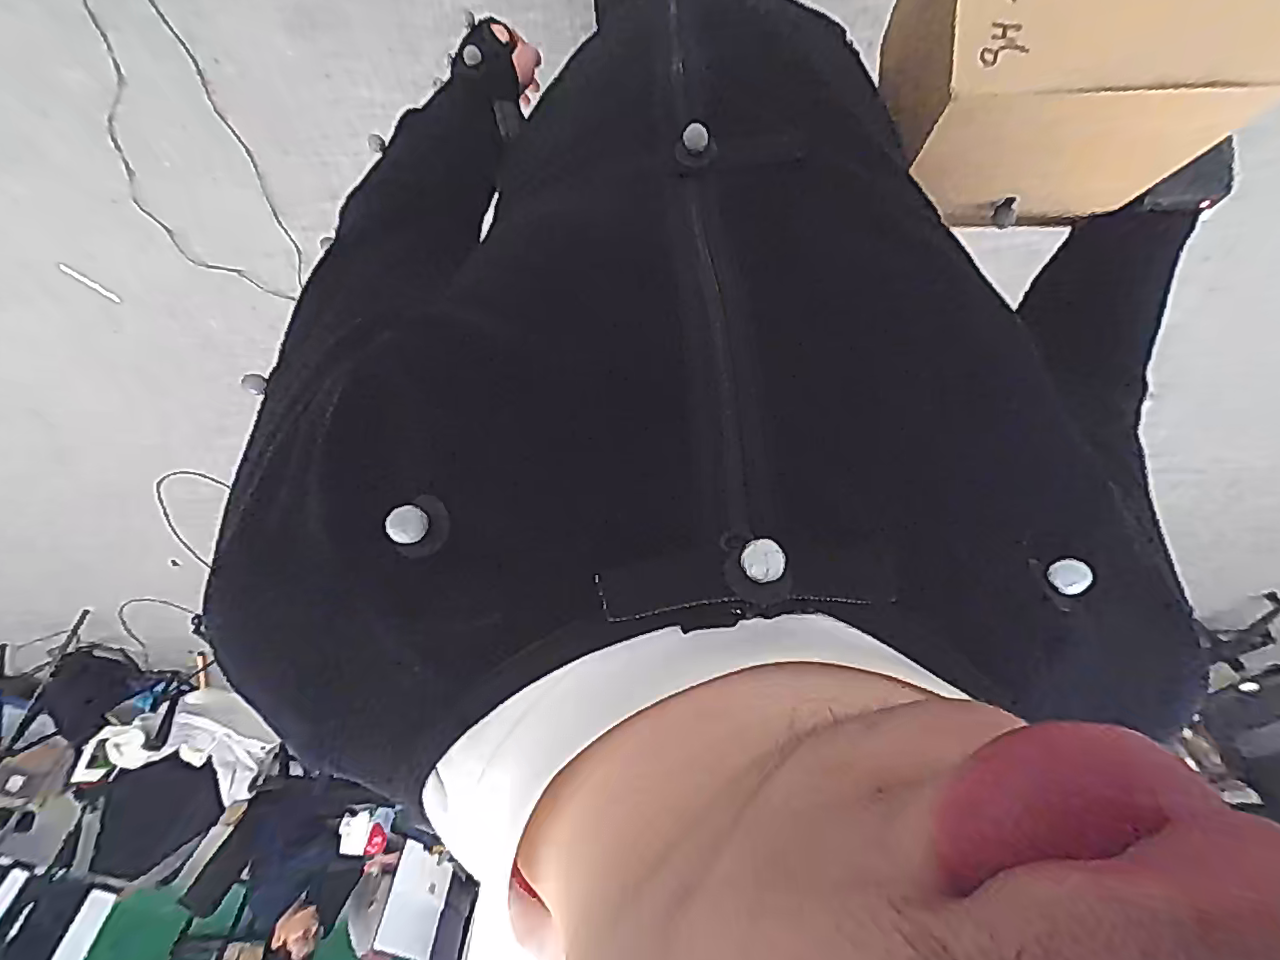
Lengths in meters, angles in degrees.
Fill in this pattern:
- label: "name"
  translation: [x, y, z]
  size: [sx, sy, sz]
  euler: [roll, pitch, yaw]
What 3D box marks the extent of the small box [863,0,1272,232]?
- label: "small box"
  translation: [0.280, -0.297, 0.392]
  size: [0.179, 0.176, 0.168]
  euler: [3, 91, 8]
